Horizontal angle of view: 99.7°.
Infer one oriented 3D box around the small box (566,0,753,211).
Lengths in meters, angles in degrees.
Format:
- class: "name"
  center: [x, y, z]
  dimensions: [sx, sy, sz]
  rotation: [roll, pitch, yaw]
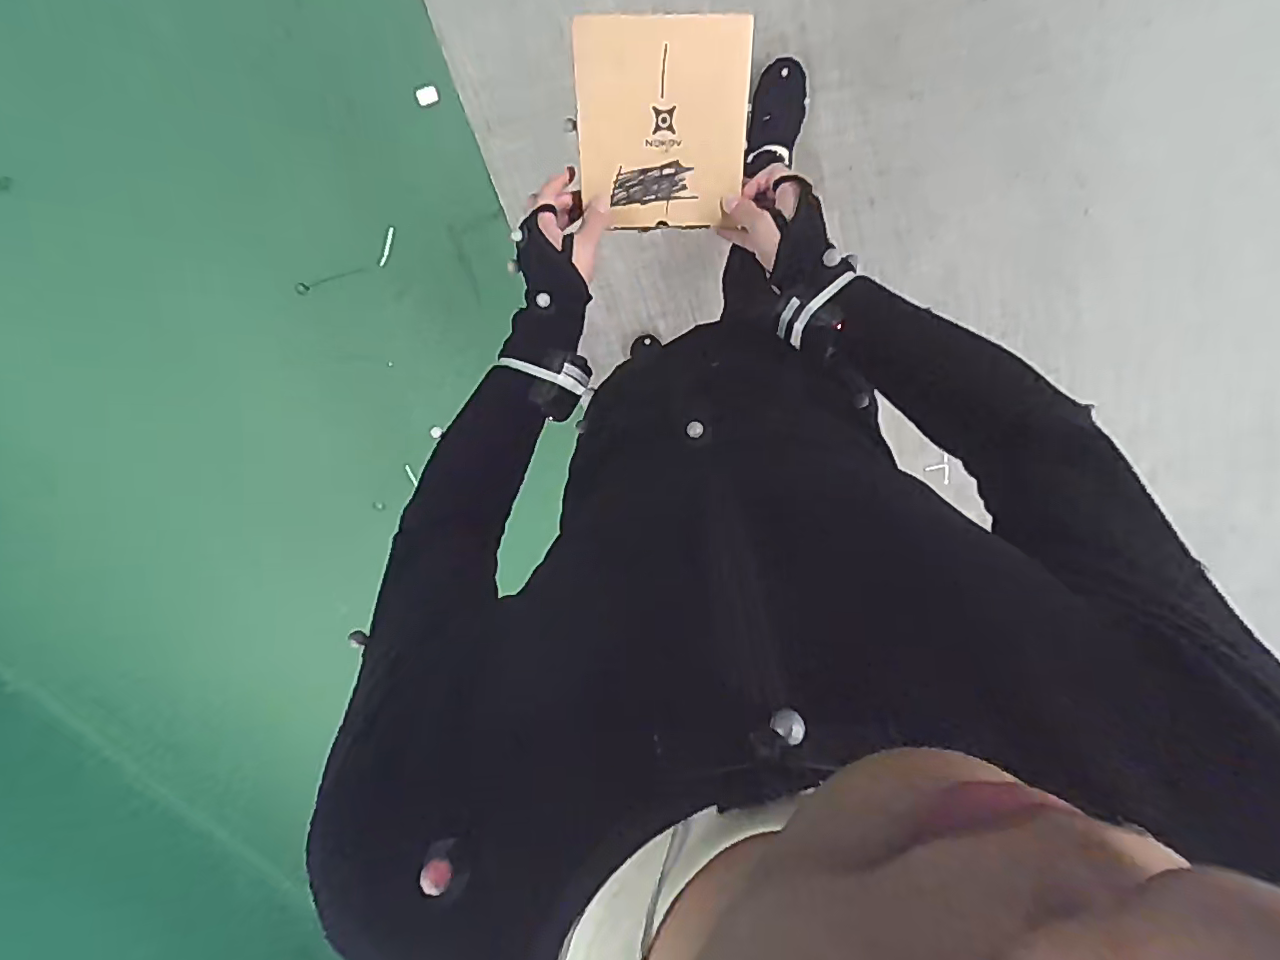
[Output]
- class: "small box"
  center: [0.013, -0.394, 0.579]
  dimensions: [0.168, 0.176, 0.179]
  rotation: [-3, 121, -4]
